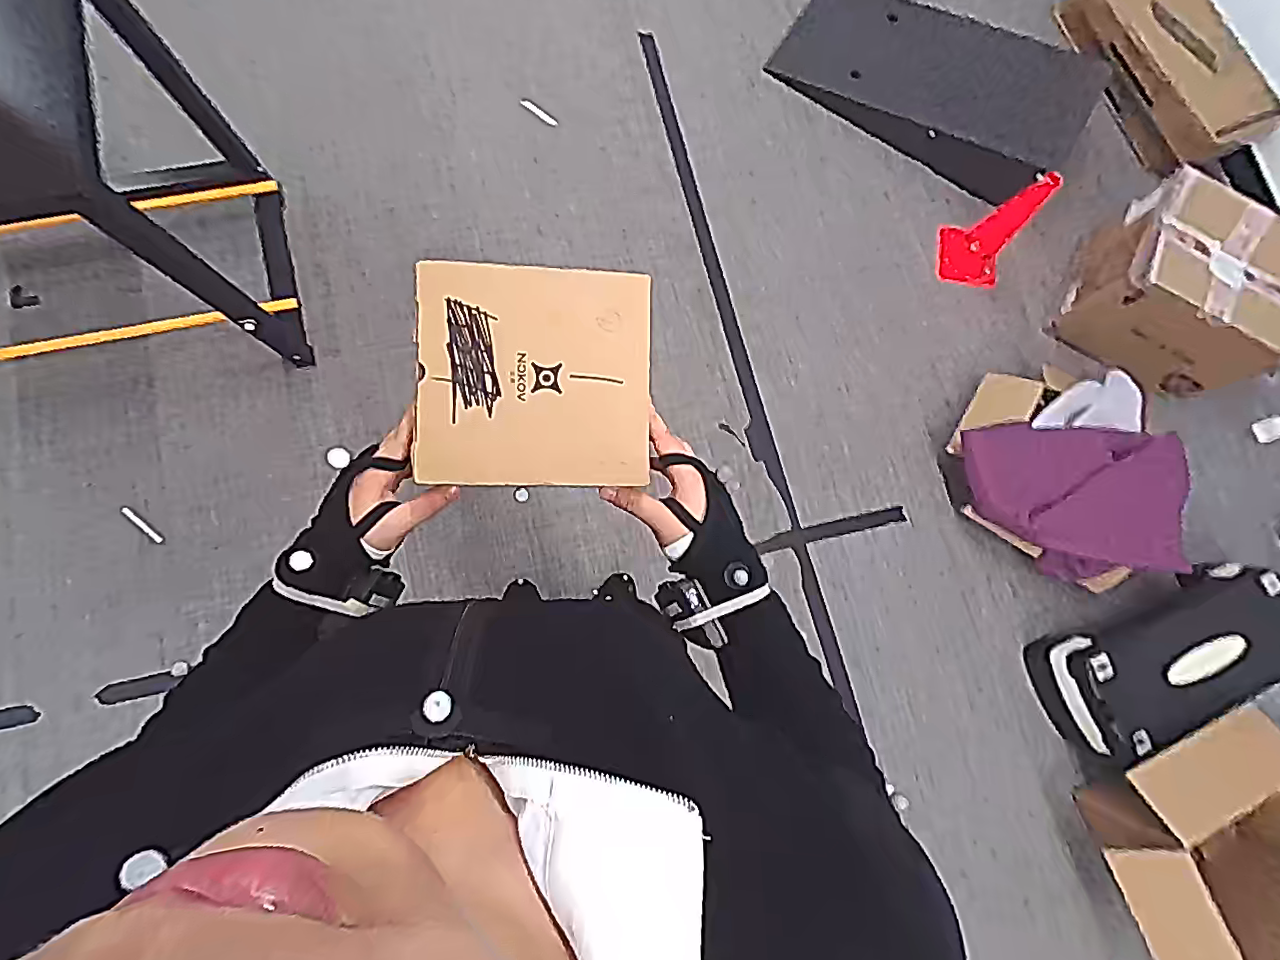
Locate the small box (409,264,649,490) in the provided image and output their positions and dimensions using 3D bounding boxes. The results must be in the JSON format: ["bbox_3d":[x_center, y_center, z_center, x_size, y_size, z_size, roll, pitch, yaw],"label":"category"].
[{"bbox_3d":[-0.090,-0.075,0.482,0.179,0.176,0.168,1,90,-8],"label":"small box"}]
